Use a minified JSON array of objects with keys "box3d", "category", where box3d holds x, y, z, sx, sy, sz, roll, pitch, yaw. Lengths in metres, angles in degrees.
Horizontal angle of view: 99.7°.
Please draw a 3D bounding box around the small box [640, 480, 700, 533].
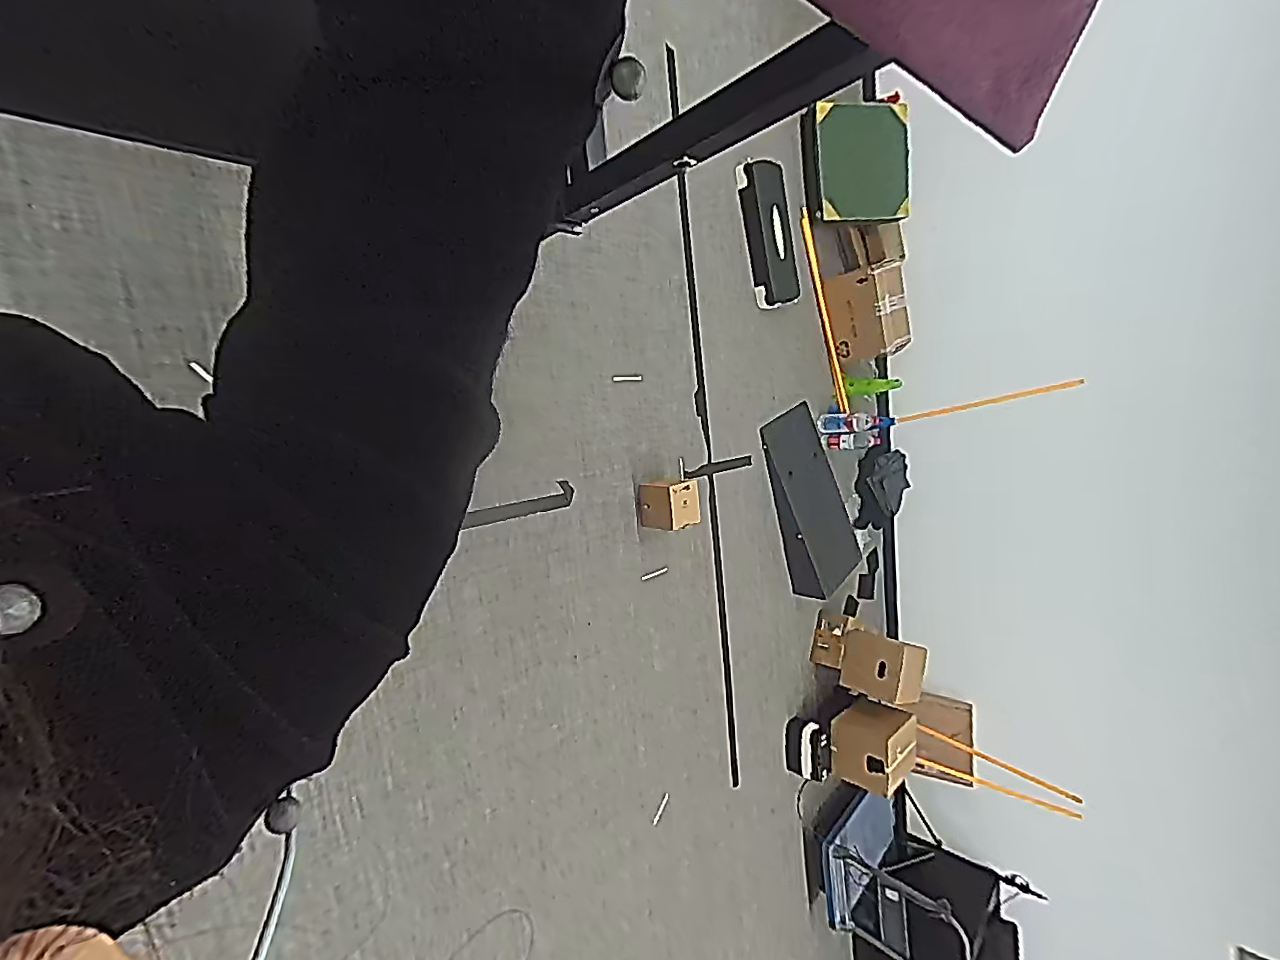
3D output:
[{"box3d":[0.118,0.099,2.147,0.168,0.176,0.179,-13,101,-44],"category":"small box"}]
